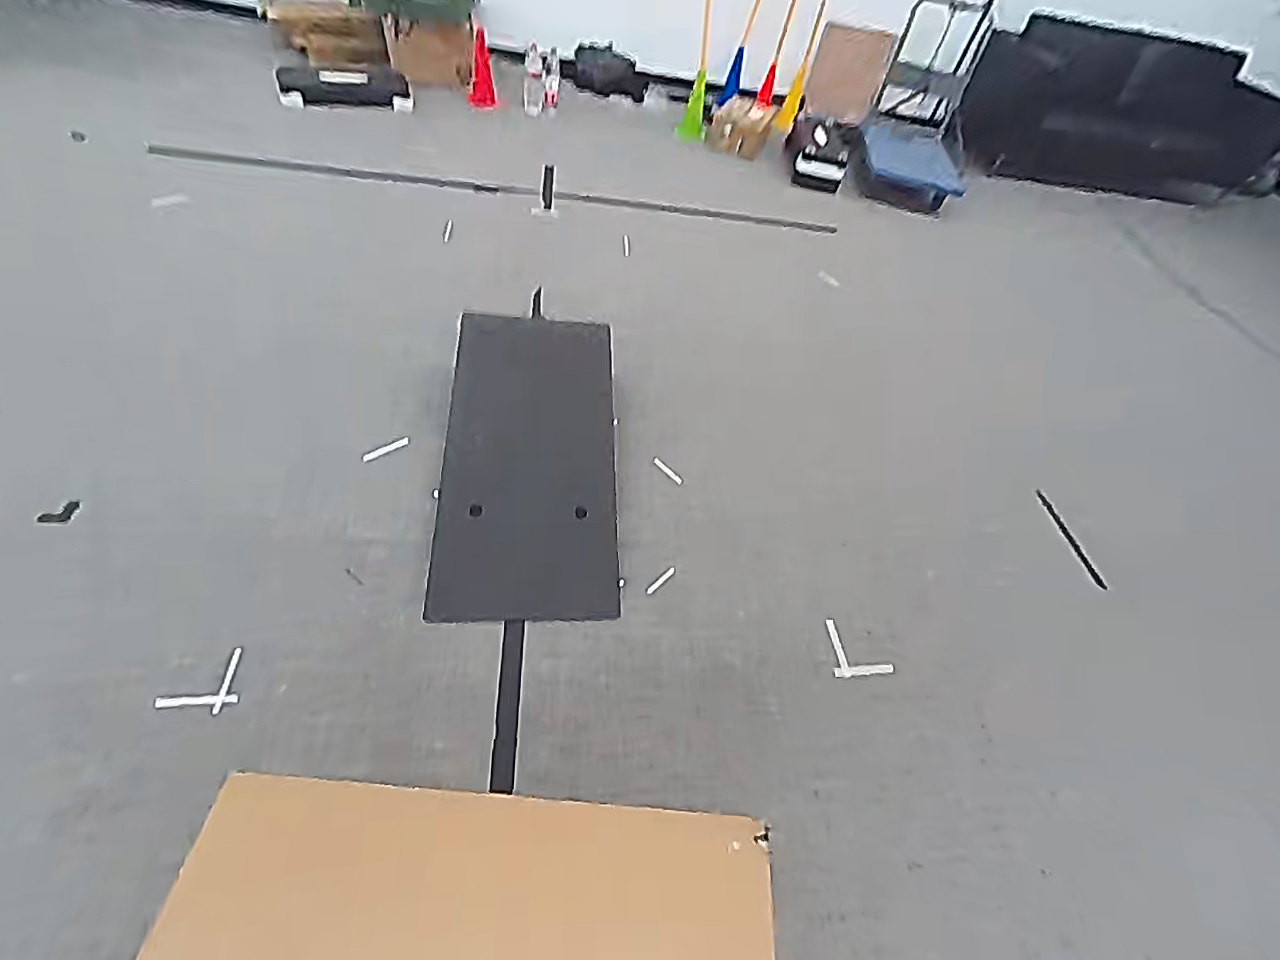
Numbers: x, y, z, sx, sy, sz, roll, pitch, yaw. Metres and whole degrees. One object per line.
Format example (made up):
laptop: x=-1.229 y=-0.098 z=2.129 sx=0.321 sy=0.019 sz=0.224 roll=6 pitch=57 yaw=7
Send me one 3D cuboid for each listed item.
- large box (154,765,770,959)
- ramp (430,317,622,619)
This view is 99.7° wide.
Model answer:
large box: x=-0.129 y=0.447 z=0.436 sx=0.408 sy=0.320 sz=0.320 roll=7 pitch=52 yaw=-3
ramp: x=-0.305 y=-0.087 z=1.608 sx=0.509 sy=0.206 sz=0.991 roll=2 pitch=52 yaw=-12
